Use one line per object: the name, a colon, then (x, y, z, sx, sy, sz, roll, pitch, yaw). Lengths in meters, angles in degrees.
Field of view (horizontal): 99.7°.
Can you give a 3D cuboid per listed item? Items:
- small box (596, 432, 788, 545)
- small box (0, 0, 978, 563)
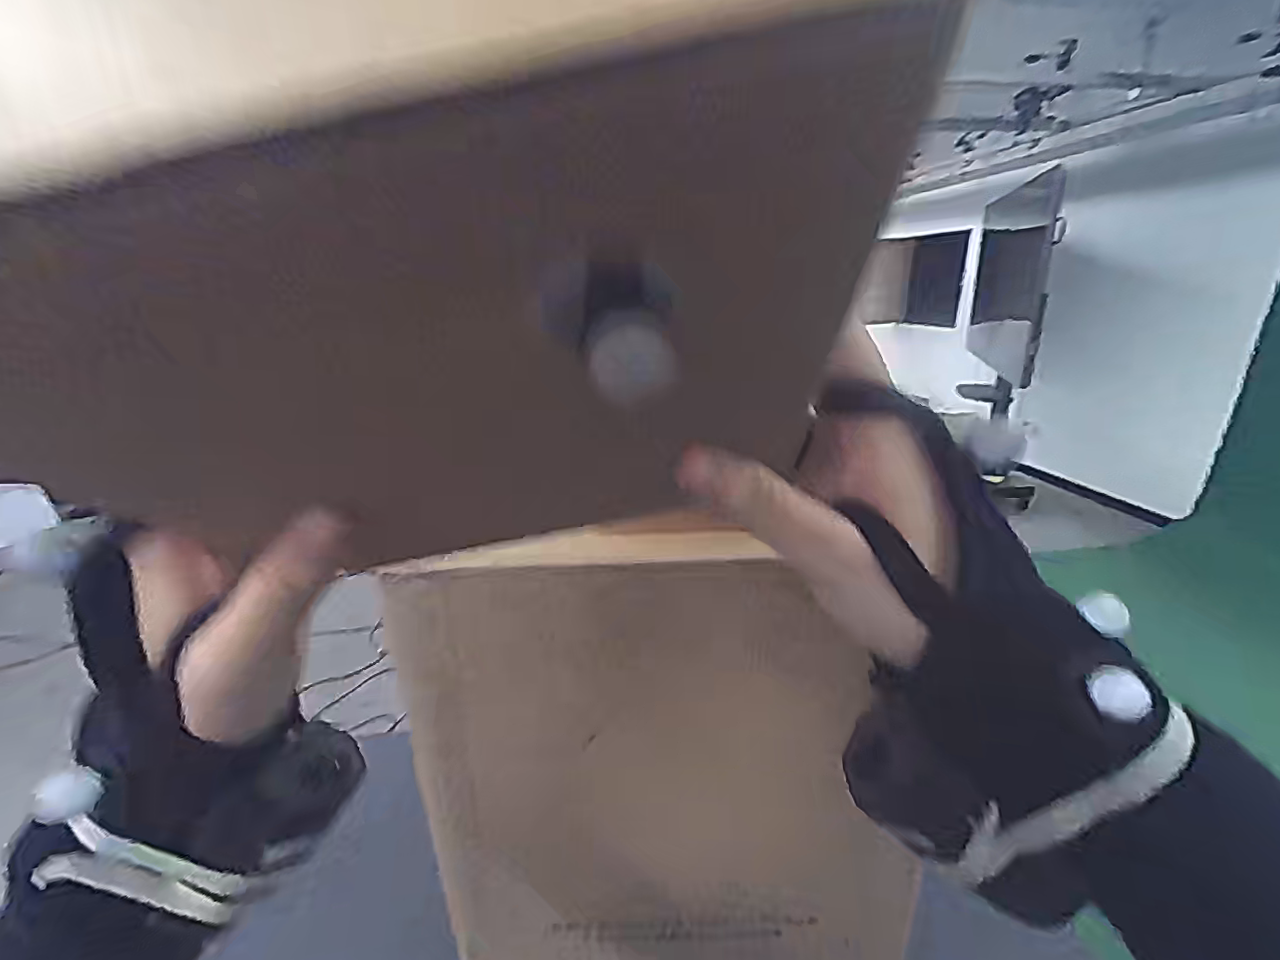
small box: (0.044, -0.044, 0.545, 0.179, 0.176, 0.168, -2, 22, 0)
small box: (-0.048, -0.081, 0.168, 0.179, 0.168, 0.176, -11, -21, 2)
